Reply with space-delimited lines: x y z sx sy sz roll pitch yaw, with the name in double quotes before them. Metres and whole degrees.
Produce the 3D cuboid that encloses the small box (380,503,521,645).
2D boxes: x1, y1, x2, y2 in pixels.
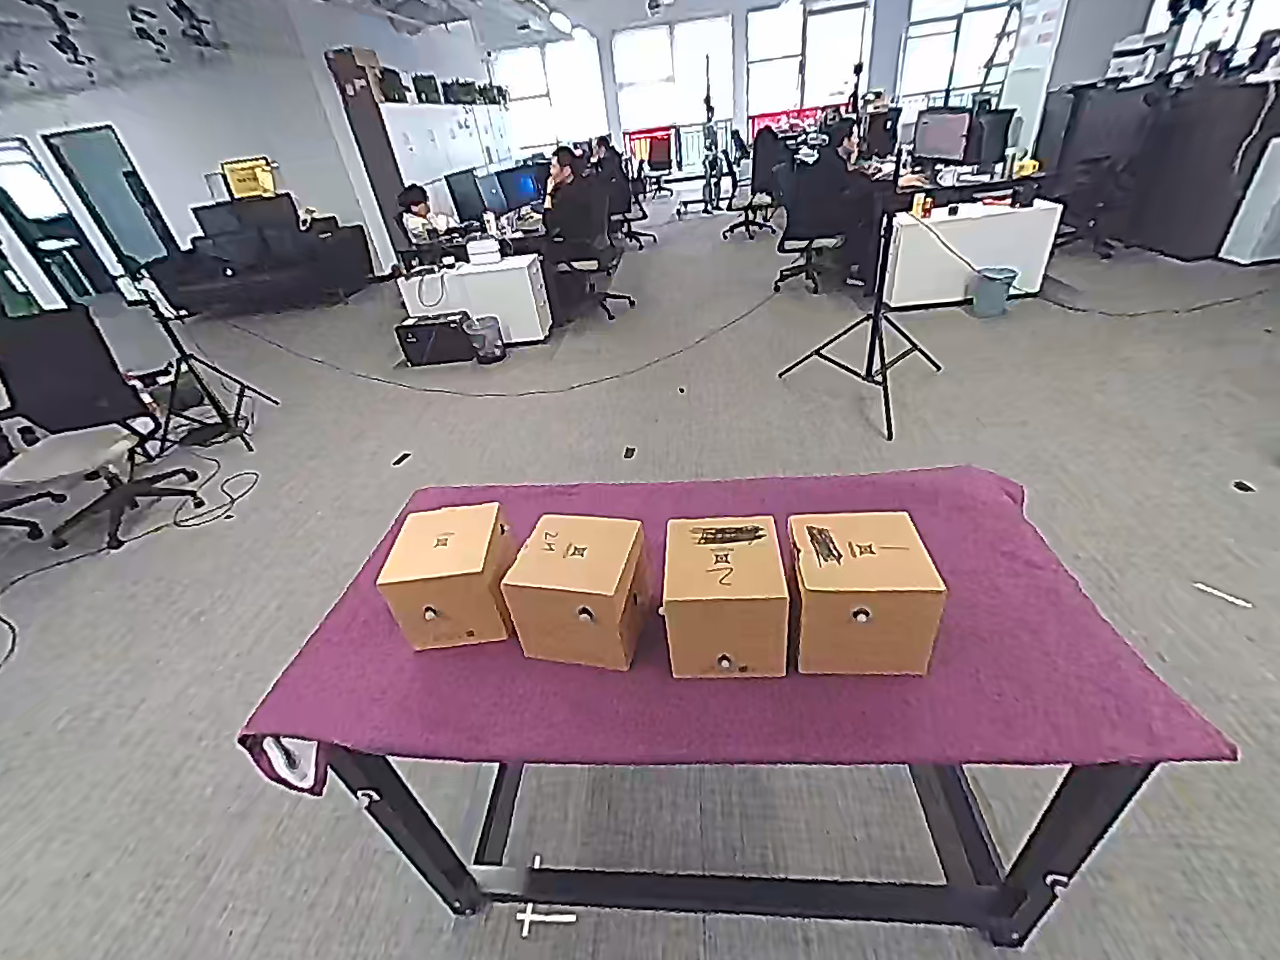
"small box" -0.313 0.166 0.935 0.168 0.176 0.179 -8 34 1
